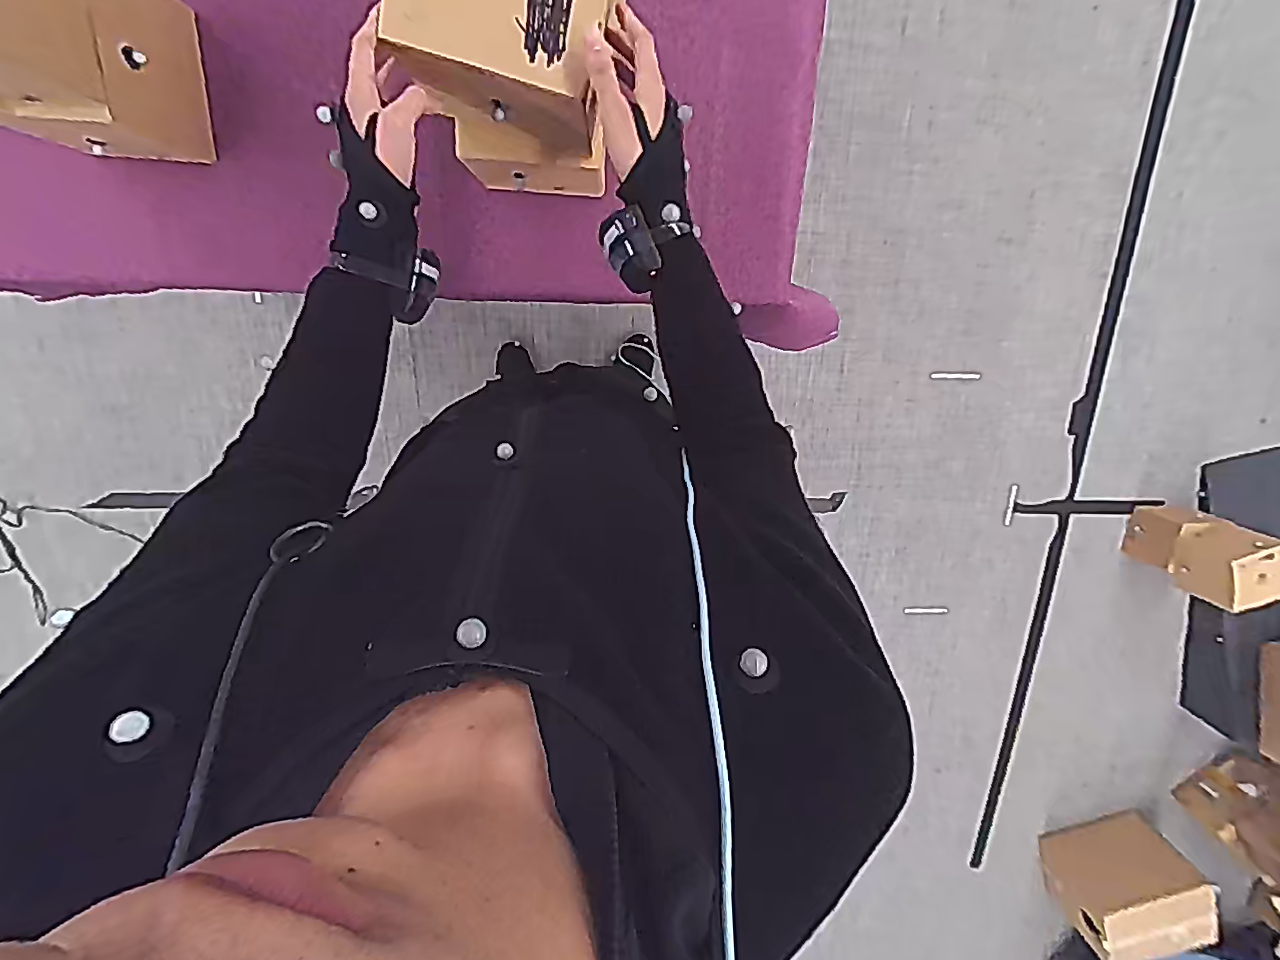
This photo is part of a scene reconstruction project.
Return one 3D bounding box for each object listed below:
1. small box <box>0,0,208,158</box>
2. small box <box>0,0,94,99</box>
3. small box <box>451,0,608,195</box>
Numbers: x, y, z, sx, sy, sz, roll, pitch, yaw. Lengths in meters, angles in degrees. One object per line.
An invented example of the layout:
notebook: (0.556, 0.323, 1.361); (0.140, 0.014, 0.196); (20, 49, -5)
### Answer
small box: (-0.644, -0.491, 0.622); (0.168, 0.176, 0.179); (2, 107, -5)
small box: (-0.637, -0.453, 0.461); (0.168, 0.176, 0.179); (-2, 107, -4)
small box: (-0.126, -0.466, 0.666); (0.168, 0.176, 0.179); (2, 106, -4)
